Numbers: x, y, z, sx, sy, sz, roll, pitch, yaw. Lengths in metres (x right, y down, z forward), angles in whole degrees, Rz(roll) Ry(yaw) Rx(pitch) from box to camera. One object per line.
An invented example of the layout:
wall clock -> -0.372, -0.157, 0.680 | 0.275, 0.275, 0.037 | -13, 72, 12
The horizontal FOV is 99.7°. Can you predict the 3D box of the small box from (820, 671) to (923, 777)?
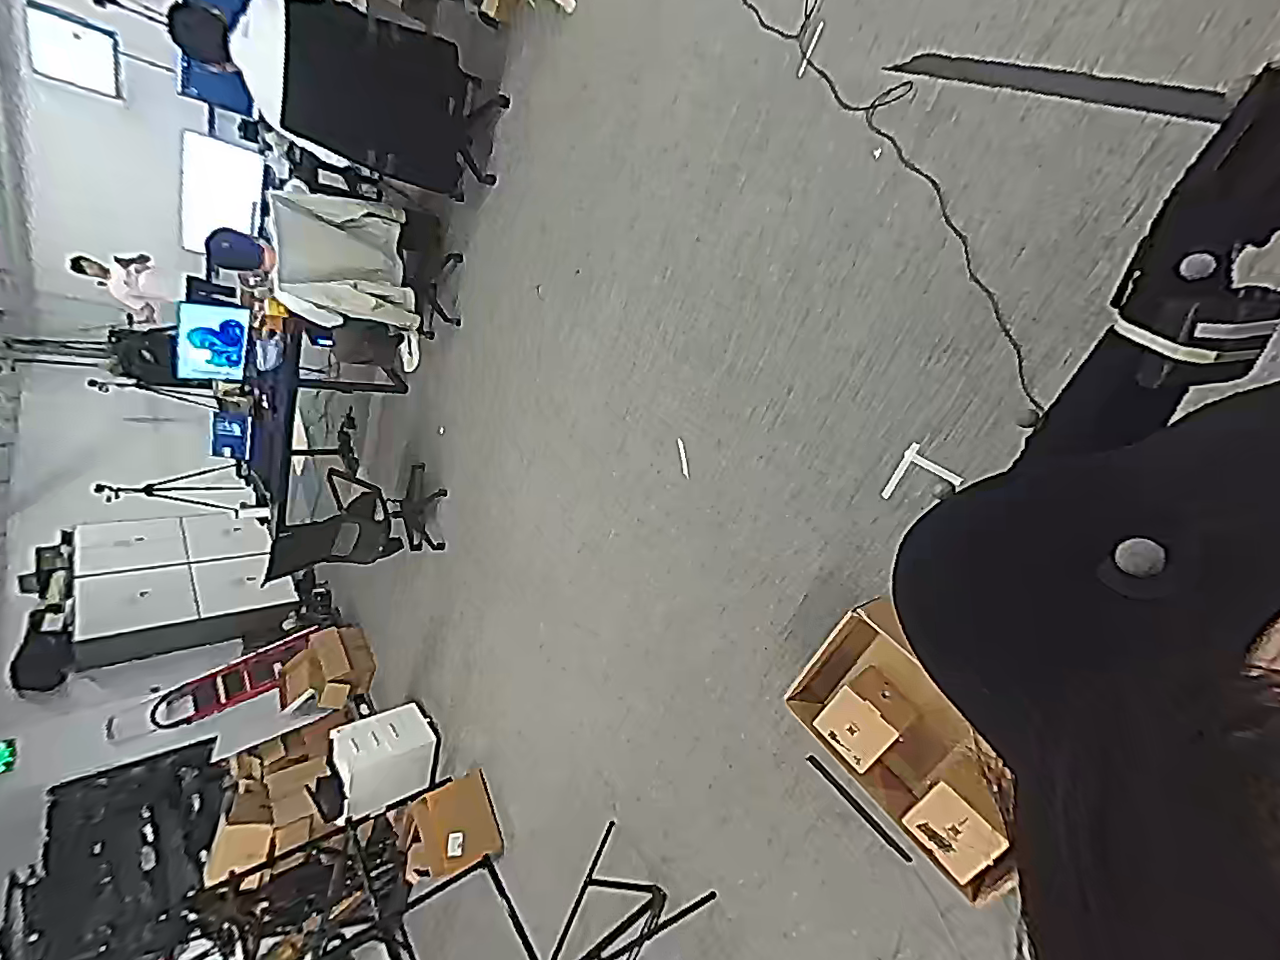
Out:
small box -> 0.628, 0.645, 1.453 | 0.168, 0.176, 0.179 | 44, 121, 34
